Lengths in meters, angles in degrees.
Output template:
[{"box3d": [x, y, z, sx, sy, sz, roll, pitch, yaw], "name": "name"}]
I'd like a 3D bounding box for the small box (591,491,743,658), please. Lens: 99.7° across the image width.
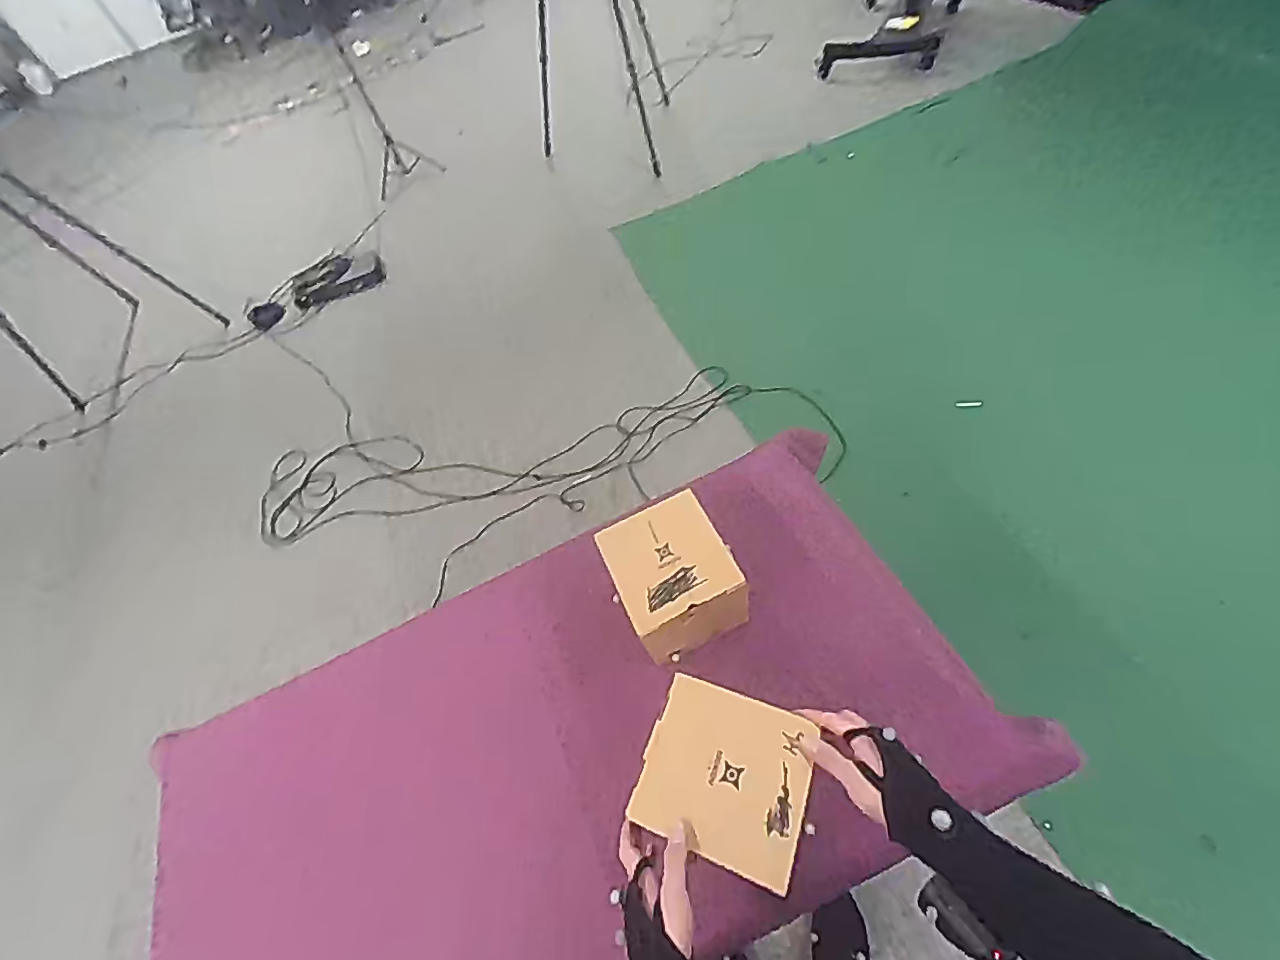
[{"box3d": [0.048, 0.154, 0.827, 0.168, 0.176, 0.179, -26, 55, -4], "name": "small box"}]
